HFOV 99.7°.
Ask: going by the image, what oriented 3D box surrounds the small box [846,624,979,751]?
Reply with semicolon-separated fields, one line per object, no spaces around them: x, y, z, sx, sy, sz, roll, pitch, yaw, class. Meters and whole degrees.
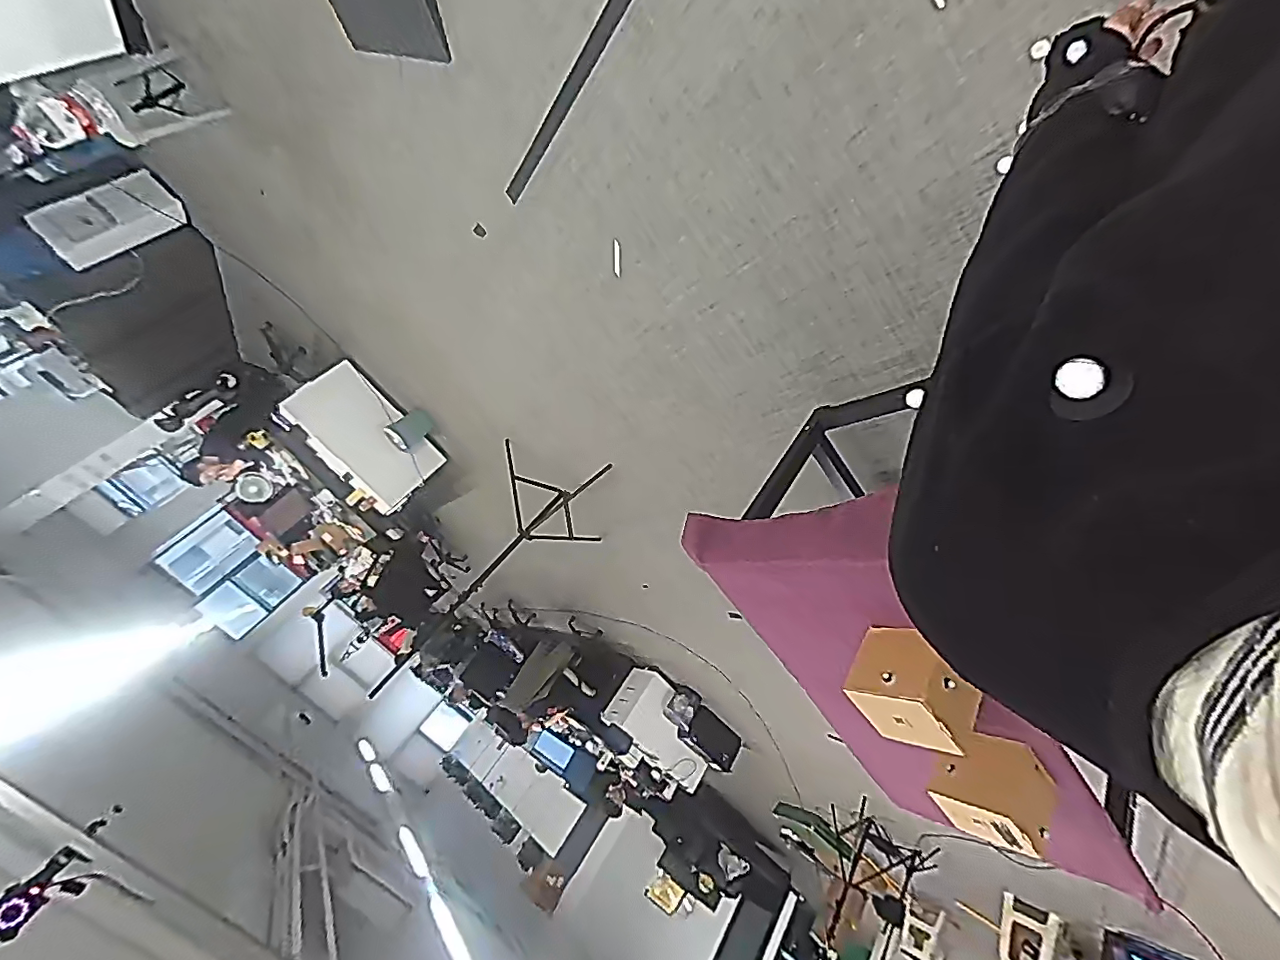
0.563;0.412;1.105;0.168;0.176;0.179;49;150;-15;small box
